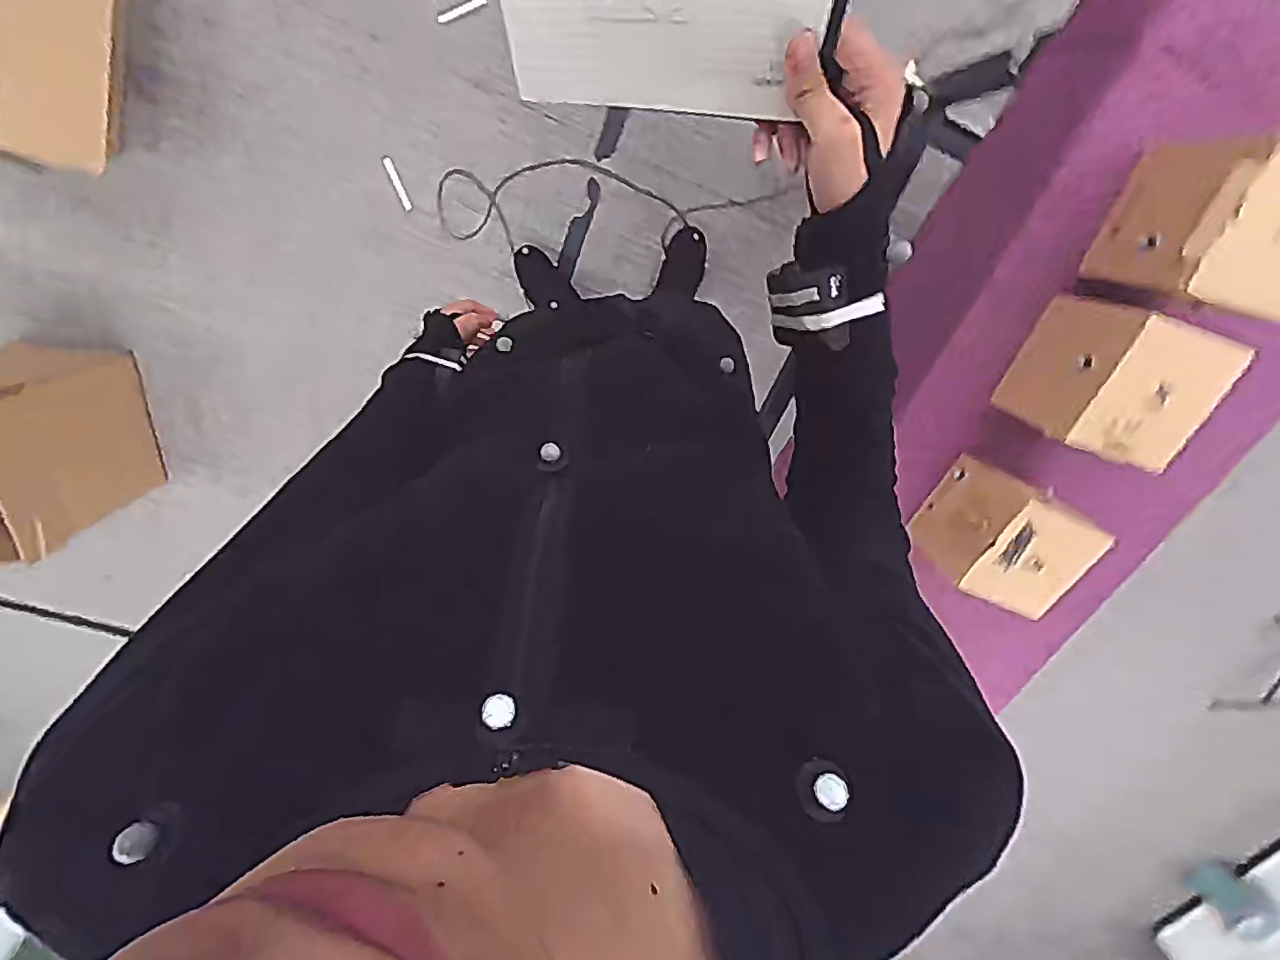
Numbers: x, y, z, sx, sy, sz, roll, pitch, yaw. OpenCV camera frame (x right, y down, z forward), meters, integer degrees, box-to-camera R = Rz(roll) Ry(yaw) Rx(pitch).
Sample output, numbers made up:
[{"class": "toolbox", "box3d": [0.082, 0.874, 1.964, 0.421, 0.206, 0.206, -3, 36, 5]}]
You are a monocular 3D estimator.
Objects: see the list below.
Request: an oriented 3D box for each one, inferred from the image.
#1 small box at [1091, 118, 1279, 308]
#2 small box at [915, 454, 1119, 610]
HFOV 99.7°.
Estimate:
[{"class": "small box", "box3d": [0.738, -0.327, 0.679, 0.179, 0.176, 0.168, 11, 117, -8]}, {"class": "small box", "box3d": [0.594, 0.076, 0.882, 0.179, 0.176, 0.168, 21, 115, -13]}]
